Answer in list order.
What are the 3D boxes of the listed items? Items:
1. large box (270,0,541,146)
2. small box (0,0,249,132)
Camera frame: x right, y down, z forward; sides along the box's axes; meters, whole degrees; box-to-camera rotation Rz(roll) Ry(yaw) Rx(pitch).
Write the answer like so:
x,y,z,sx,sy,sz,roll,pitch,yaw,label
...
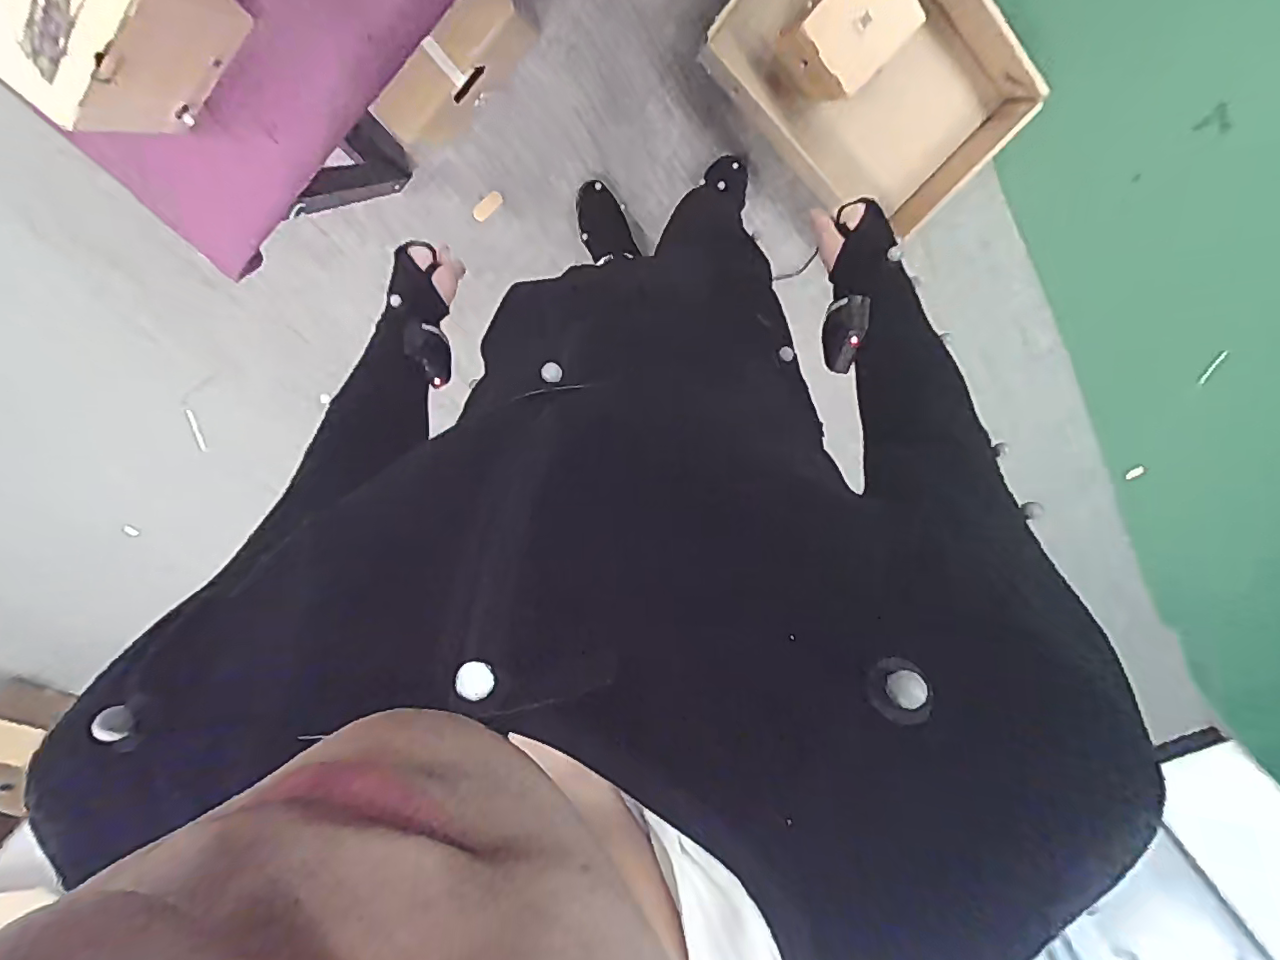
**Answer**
x,y,z,sx,sy,sz,roll,pitch,yaw,label
-0.456,-0.925,1.032,0.320,0.320,0.408,-37,114,19,large box
-0.541,-0.478,0.528,0.168,0.176,0.179,-37,114,19,small box
